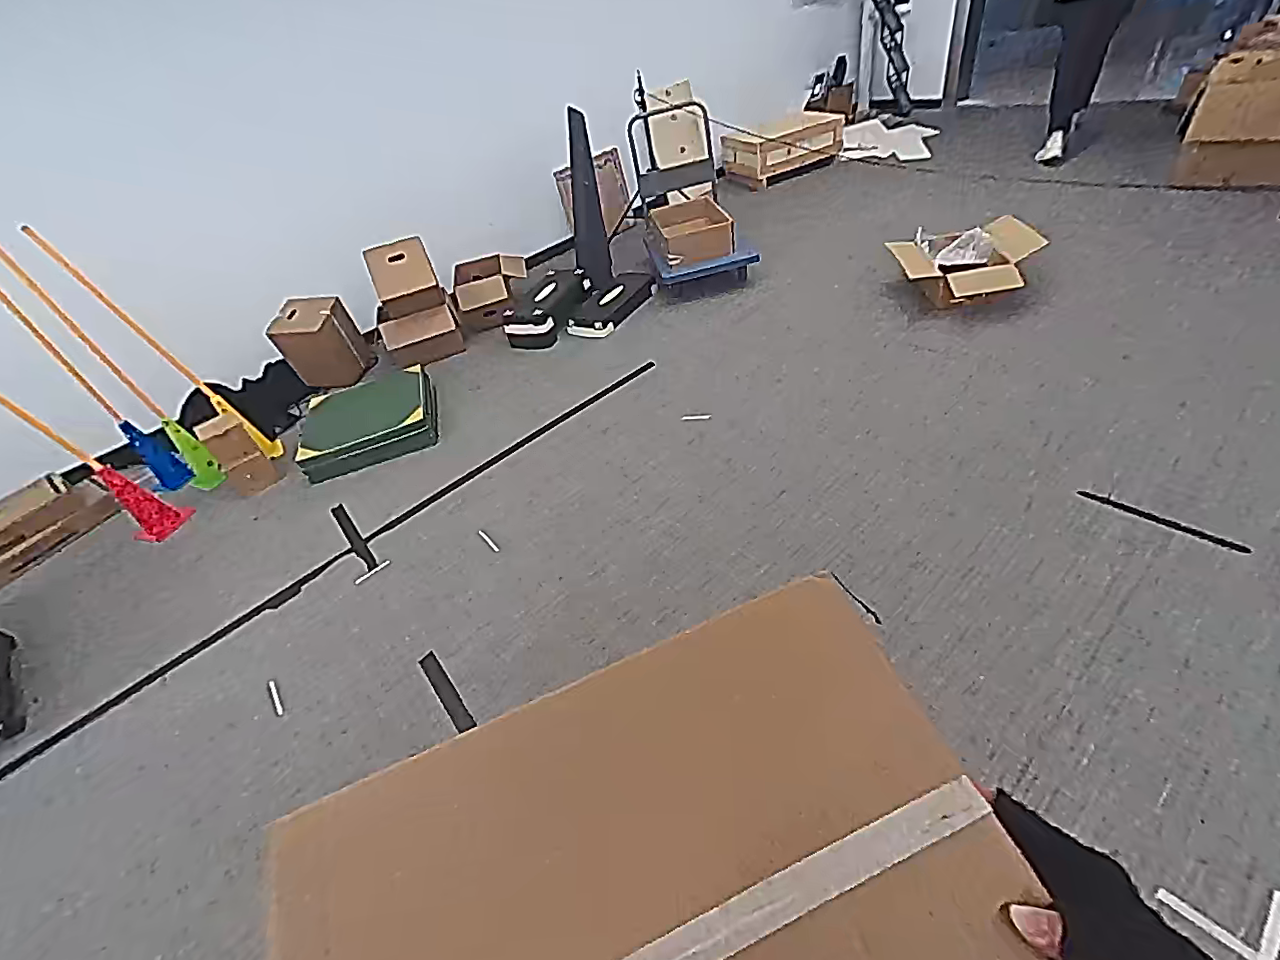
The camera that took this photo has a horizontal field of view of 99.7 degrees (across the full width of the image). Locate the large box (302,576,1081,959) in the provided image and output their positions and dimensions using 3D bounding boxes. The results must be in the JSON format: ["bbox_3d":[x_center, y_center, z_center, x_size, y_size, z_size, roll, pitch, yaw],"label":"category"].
[{"bbox_3d":[0.031,0.342,0.425,0.408,0.320,0.320,-22,59,-7],"label":"large box"}]
